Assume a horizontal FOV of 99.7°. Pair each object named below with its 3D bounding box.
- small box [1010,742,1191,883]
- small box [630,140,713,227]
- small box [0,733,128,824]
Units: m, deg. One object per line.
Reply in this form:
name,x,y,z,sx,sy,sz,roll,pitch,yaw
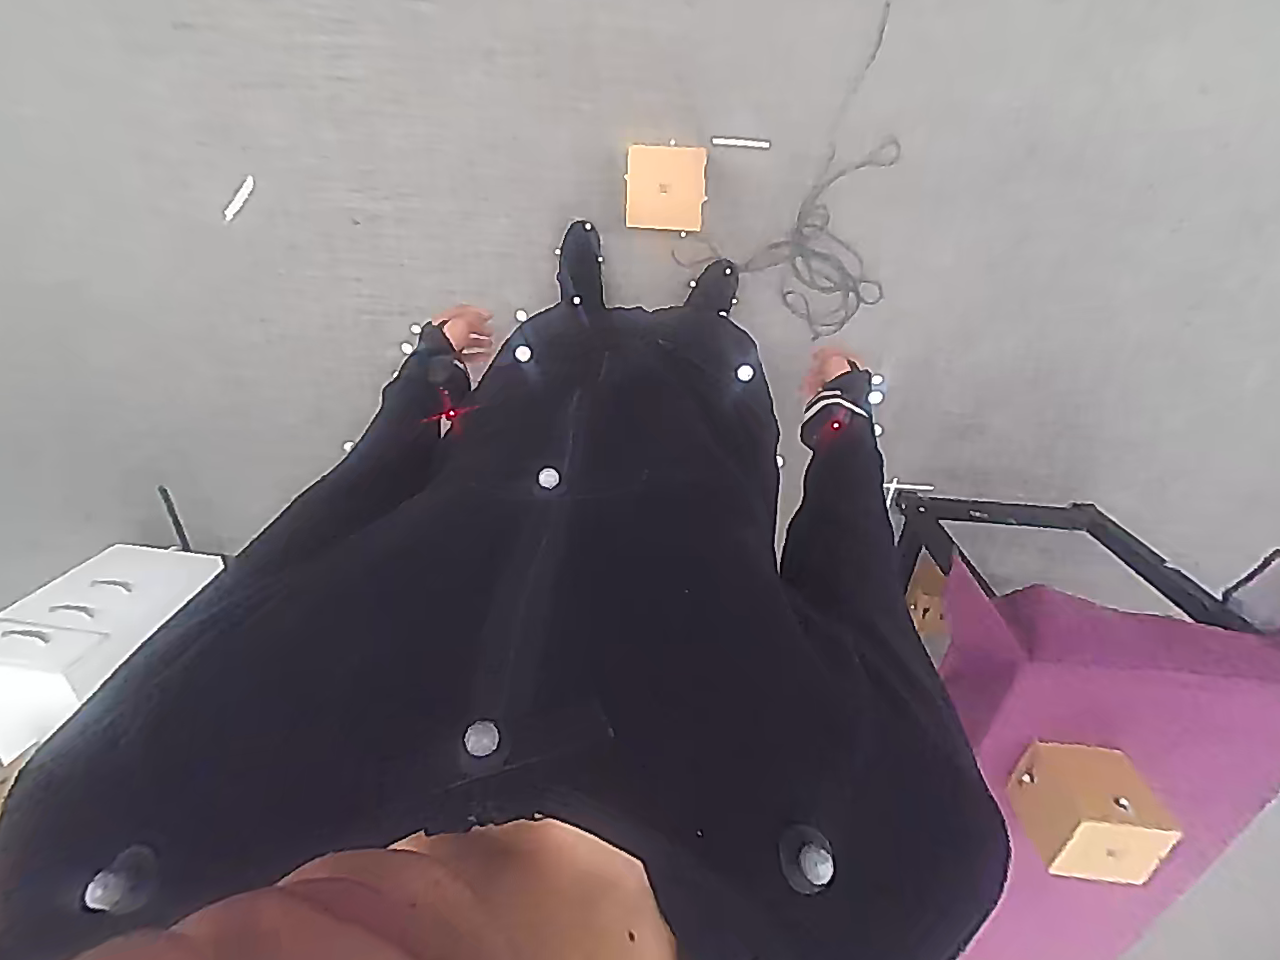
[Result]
small box,0.876,0.639,1.050,0.179,0.176,0.168,6,117,3
small box,0.074,-0.689,1.267,0.179,0.176,0.168,4,118,3
small box,-1.718,0.891,1.623,0.179,0.176,0.168,6,118,4
